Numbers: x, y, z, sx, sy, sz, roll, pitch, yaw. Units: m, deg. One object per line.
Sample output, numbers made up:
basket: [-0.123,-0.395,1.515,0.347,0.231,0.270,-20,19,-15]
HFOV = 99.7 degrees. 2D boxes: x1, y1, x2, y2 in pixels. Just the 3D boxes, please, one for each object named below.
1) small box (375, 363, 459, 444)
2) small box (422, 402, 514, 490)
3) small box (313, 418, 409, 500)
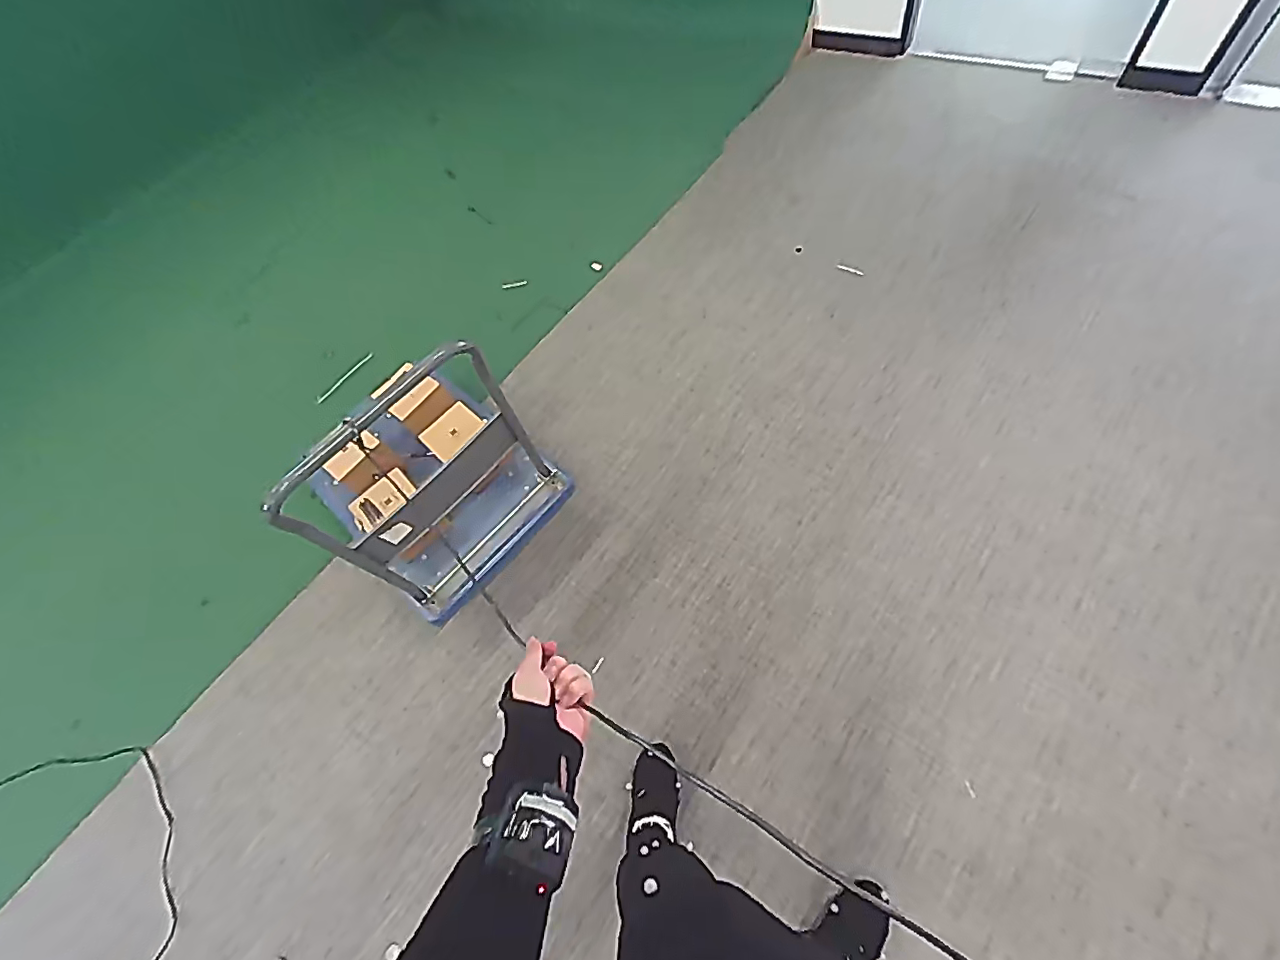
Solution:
small box: [-0.719,-0.246,1.780,0.179,0.176,0.168,33,74,24]
small box: [-0.524,-0.100,1.663,0.179,0.176,0.168,38,75,25]
small box: [-0.874,-0.060,1.712,0.179,0.176,0.168,33,72,25]
